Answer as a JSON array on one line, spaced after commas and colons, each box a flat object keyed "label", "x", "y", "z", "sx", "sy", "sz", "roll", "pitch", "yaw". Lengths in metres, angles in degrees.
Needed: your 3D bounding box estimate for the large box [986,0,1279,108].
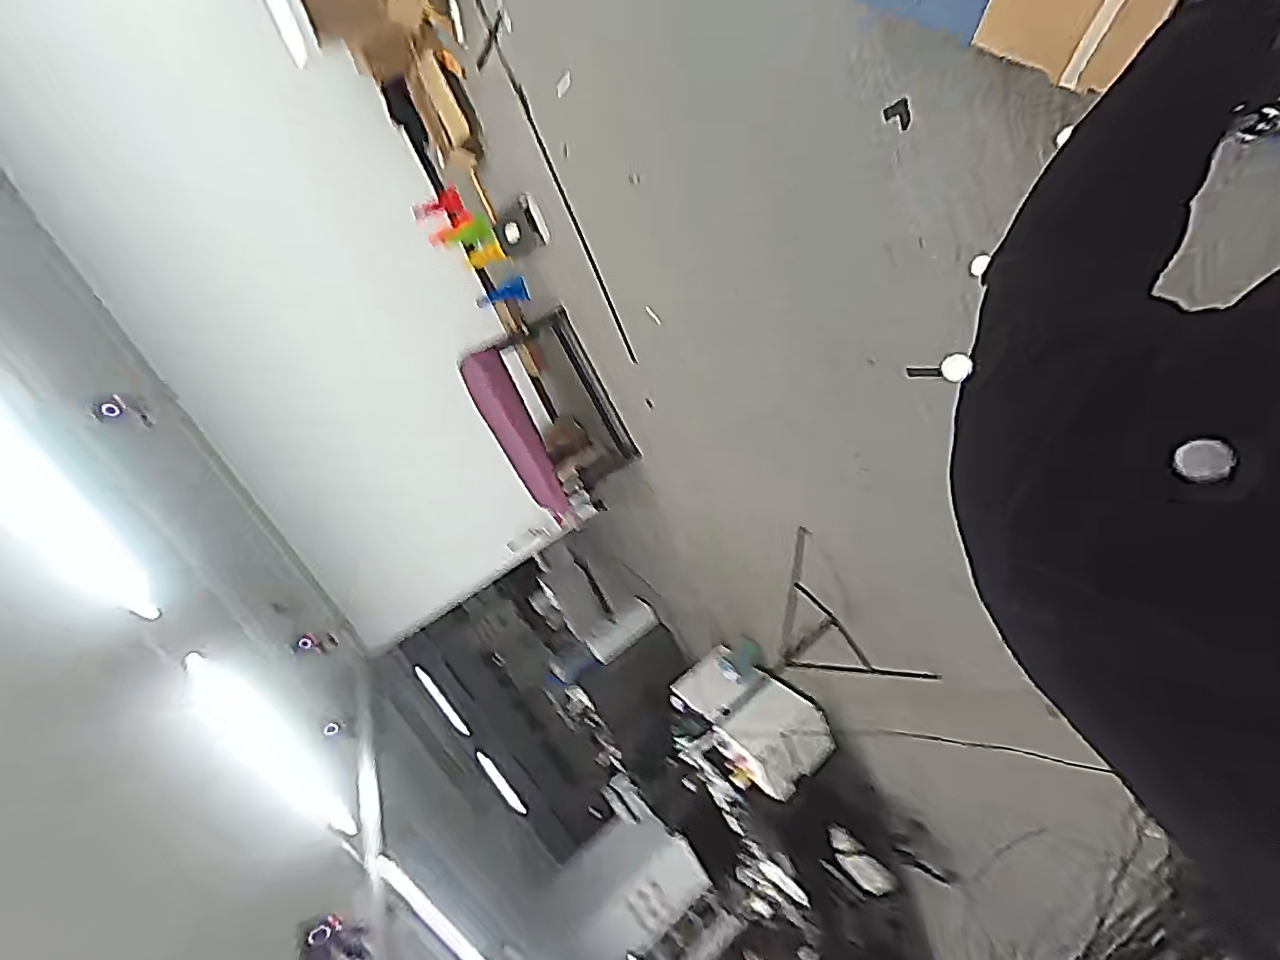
[{"label": "large box", "x": 0.724, "y": -0.742, "z": 0.629, "sx": 0.320, "sy": 0.320, "sz": 0.408, "roll": 46, "pitch": 156, "yaw": 25}]
